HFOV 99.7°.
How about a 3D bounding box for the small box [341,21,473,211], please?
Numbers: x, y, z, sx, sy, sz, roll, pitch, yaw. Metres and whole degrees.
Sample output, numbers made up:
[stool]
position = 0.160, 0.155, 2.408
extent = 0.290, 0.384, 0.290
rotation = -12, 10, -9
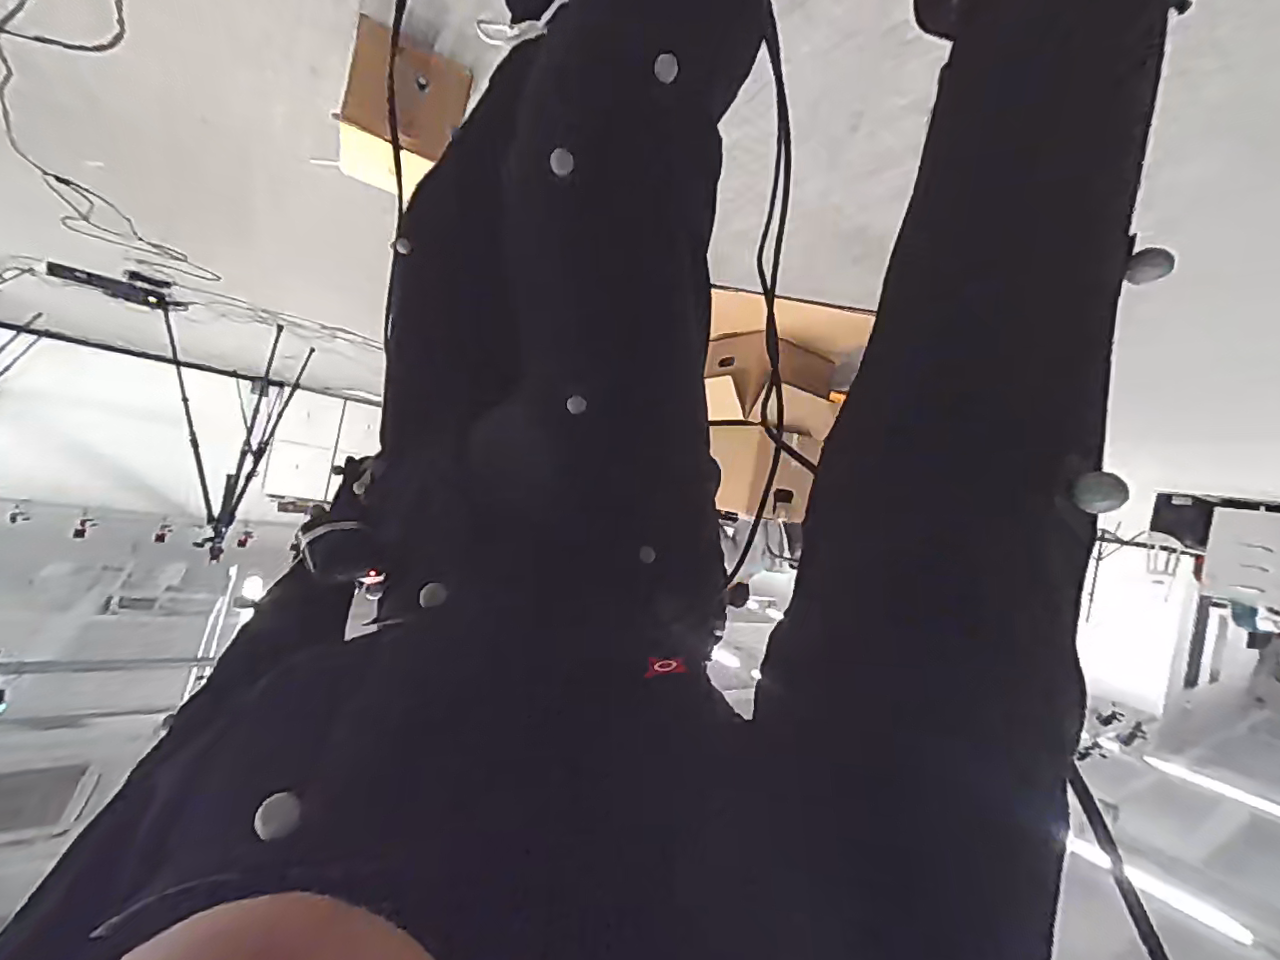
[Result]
[small box]
position = -0.391, -0.595, 0.905
extent = 0.168, 0.176, 0.179
rotation = 12, 177, -29
